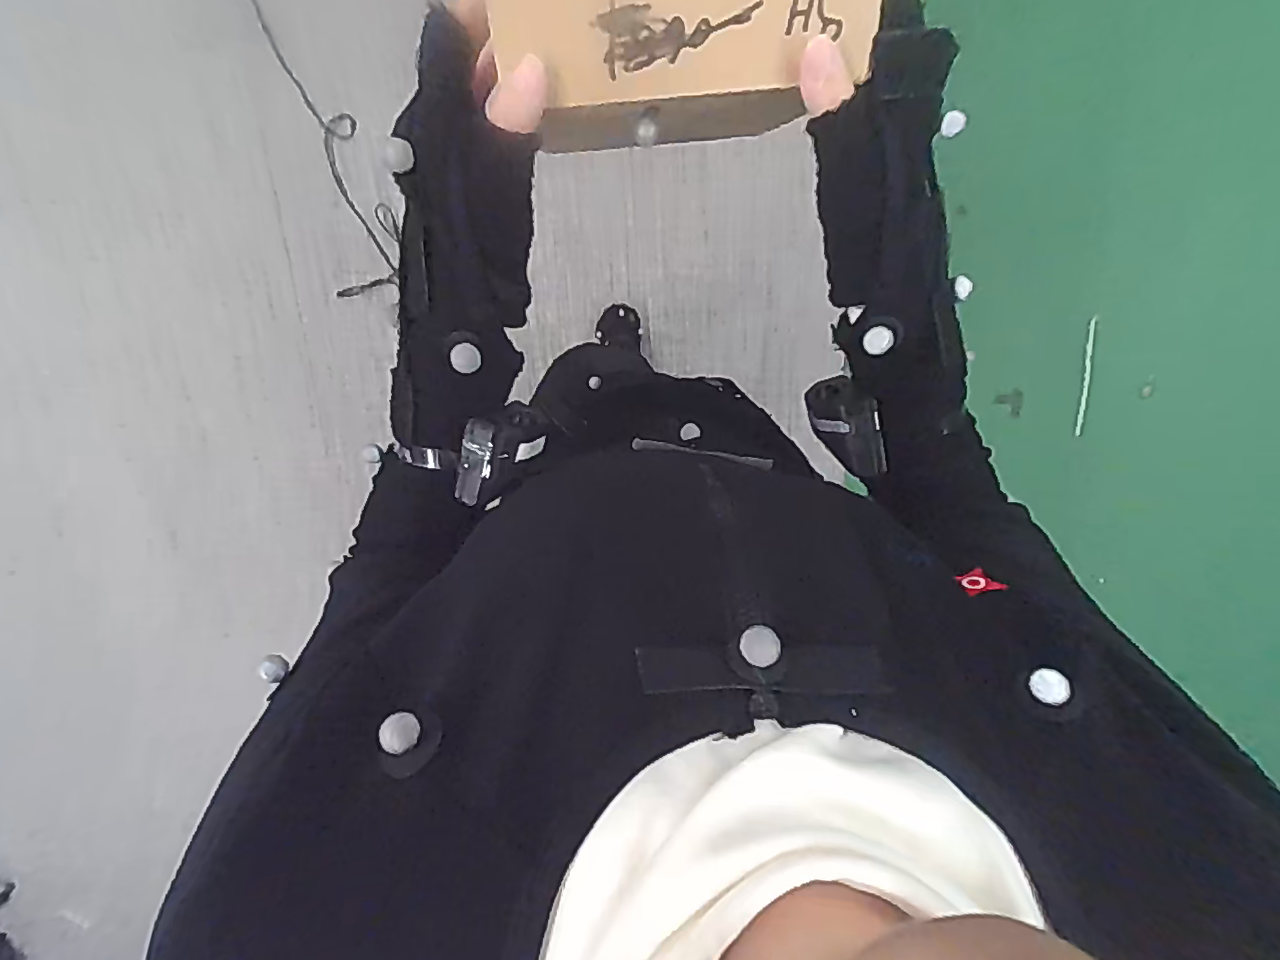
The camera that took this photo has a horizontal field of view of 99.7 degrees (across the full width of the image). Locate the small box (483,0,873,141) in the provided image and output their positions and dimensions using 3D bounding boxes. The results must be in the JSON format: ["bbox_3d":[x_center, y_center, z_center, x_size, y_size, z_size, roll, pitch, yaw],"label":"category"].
[{"bbox_3d":[0.006,-0.289,0.270,0.168,0.176,0.179,-6,115,-1],"label":"small box"}]
